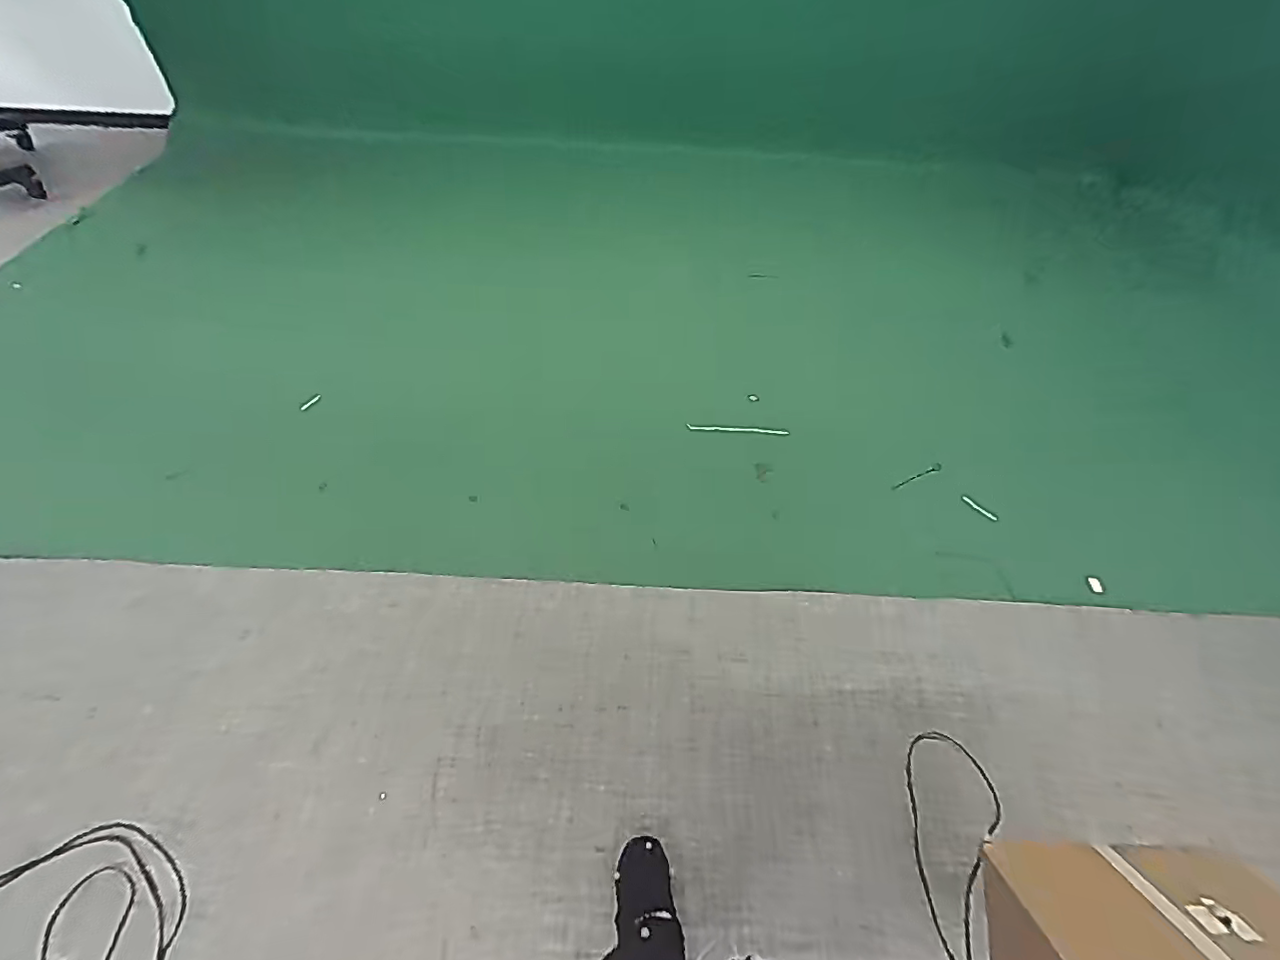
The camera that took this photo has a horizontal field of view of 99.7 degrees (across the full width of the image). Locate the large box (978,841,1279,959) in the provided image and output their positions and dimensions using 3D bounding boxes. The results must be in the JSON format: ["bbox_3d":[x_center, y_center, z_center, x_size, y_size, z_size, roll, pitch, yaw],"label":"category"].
[{"bbox_3d":[0.634,0.676,0.581,0.320,0.408,0.320,-3,88,9],"label":"large box"}]
